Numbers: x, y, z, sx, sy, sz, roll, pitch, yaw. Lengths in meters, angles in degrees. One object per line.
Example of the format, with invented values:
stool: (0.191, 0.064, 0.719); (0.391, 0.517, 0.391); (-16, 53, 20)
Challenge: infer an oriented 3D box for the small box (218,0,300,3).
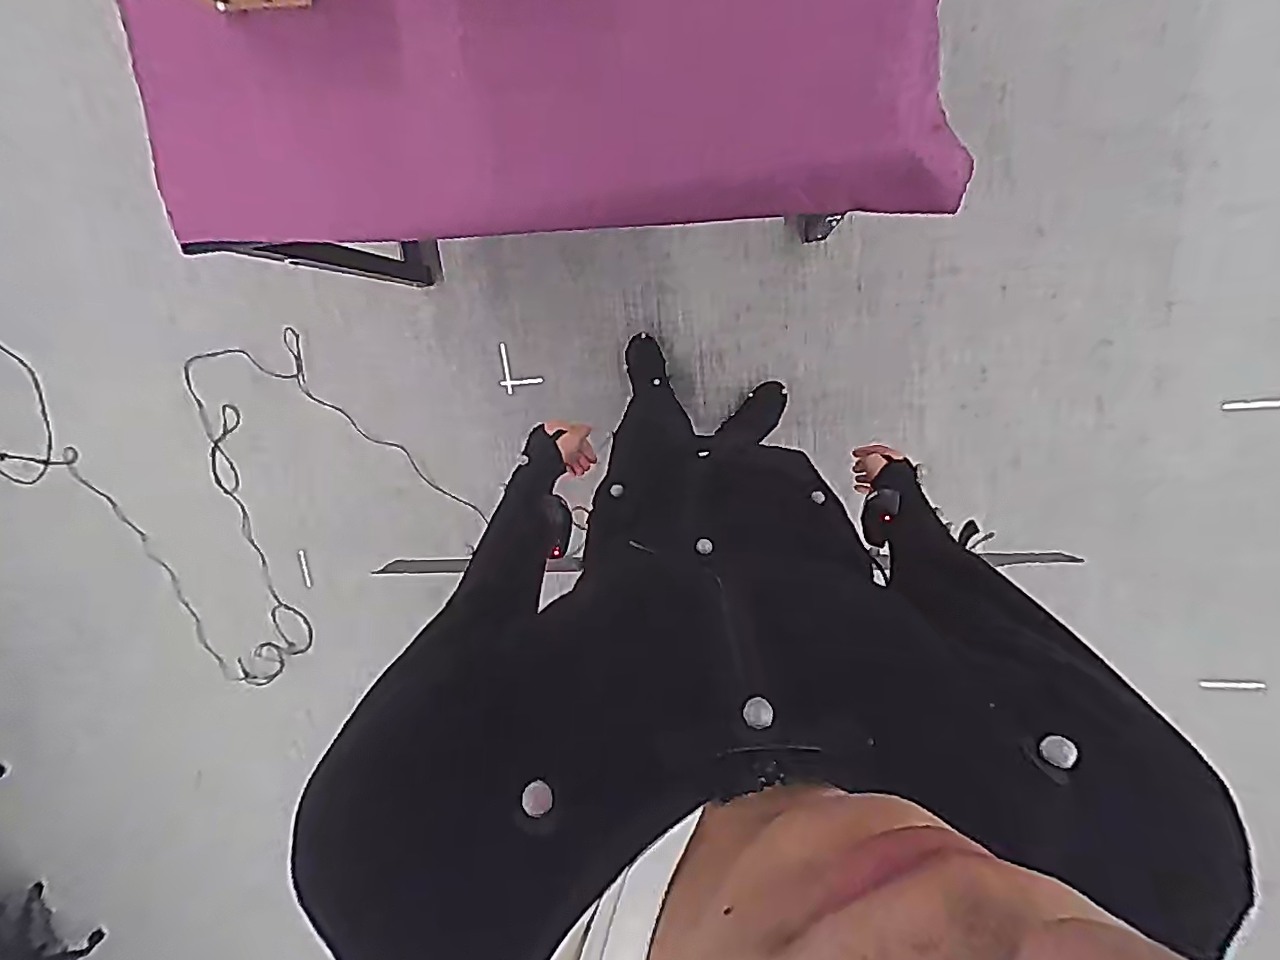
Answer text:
small box: (-0.585, -0.785, 0.726); (0.168, 0.176, 0.179); (3, 104, 8)
